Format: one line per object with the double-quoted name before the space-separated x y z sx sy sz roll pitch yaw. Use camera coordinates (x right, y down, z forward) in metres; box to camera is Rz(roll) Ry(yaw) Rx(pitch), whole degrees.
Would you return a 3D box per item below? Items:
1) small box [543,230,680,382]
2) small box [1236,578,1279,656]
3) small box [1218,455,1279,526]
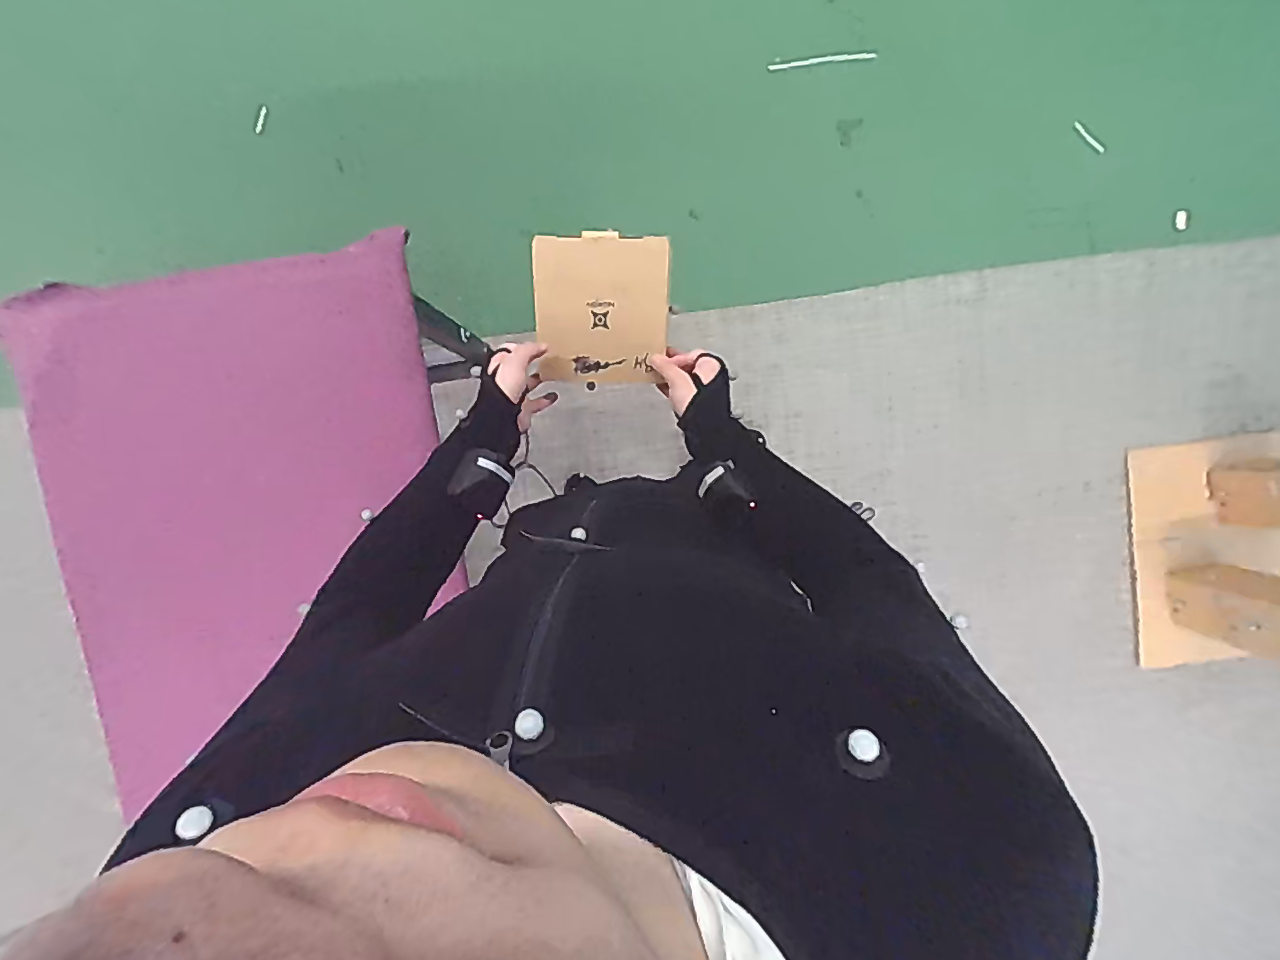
"small box" -0.032 -0.236 0.738 0.168 0.176 0.179 3 110 4
"small box" 1.718 0.363 1.405 0.179 0.176 0.168 -14 95 0
"small box" 1.843 0.026 1.553 0.179 0.176 0.168 -15 94 1
